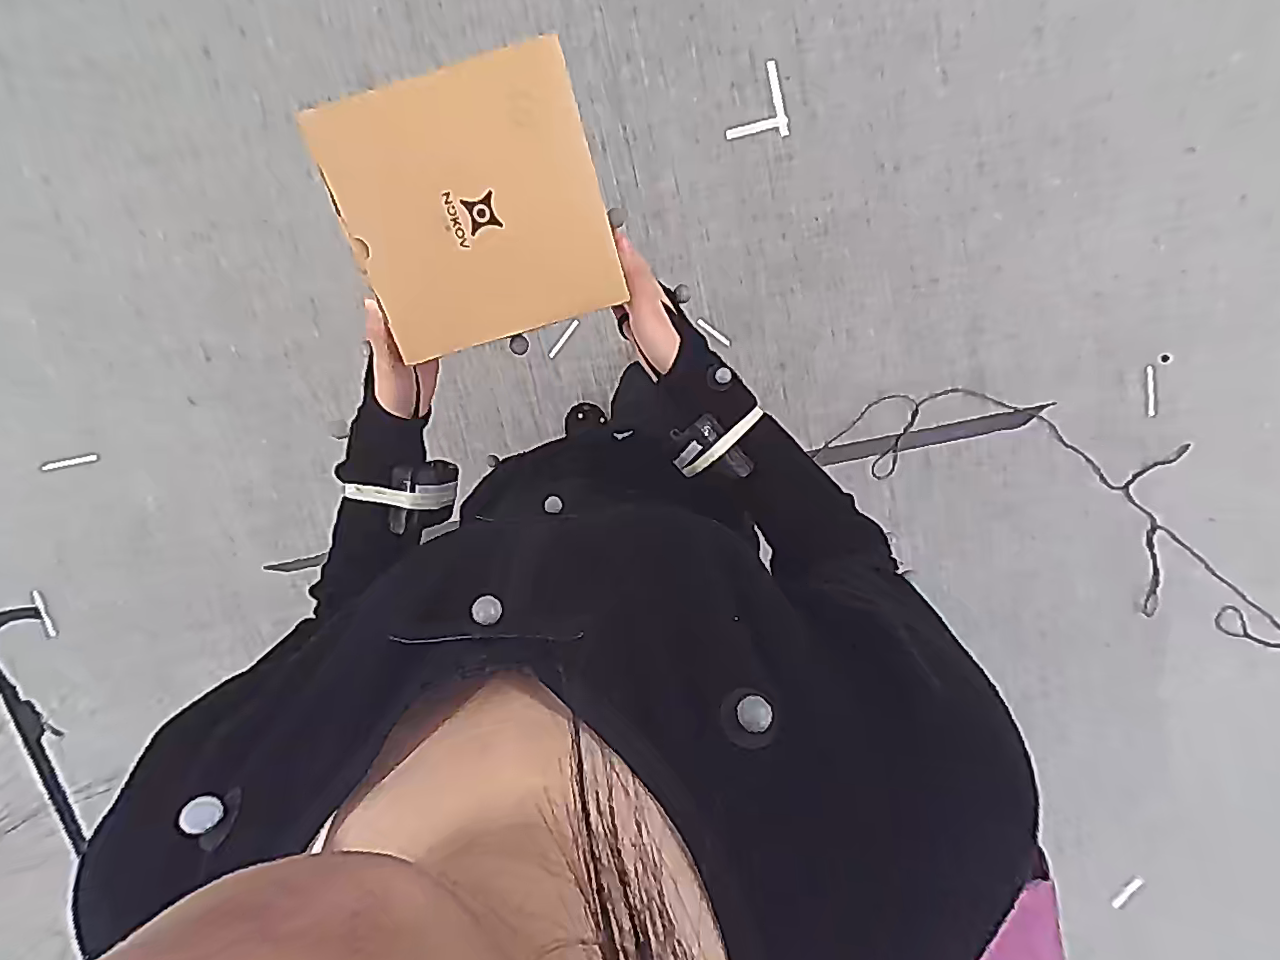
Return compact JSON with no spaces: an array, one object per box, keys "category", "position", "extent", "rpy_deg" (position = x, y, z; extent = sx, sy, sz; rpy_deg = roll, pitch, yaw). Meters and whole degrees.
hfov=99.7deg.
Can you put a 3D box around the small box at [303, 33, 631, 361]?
[{"category":"small box","position":[-0.116,-0.212,0.440],"extent":[0.179,0.176,0.168],"rpy_deg":[-16,111,3]}]
